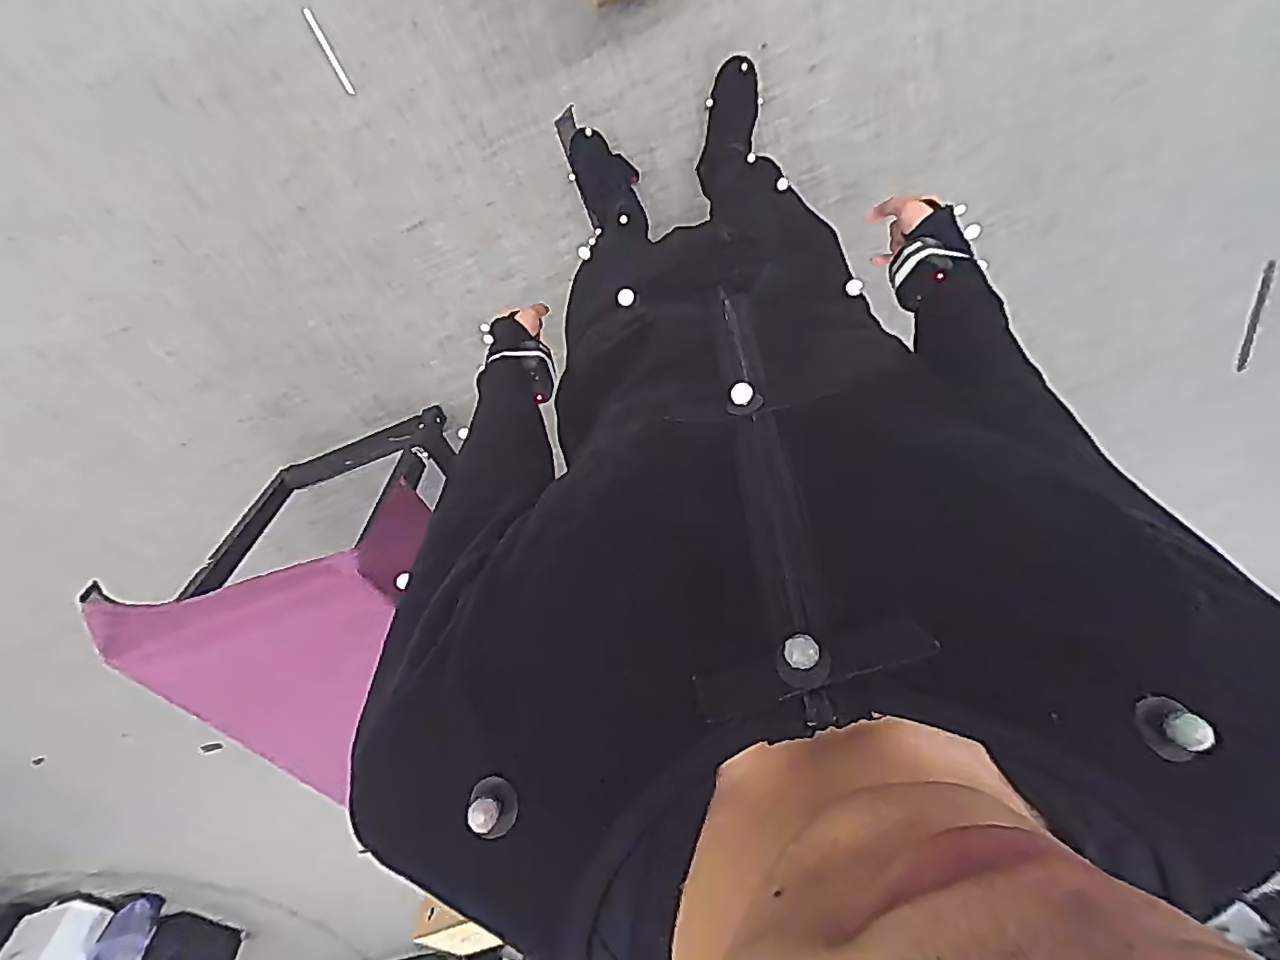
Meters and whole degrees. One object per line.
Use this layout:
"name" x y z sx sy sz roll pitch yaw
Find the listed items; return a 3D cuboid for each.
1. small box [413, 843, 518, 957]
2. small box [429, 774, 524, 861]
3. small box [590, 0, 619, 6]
"small box" -0.420 1.036 1.338 0.179 0.176 0.168 -30 123 14
"small box" -0.434 0.934 1.467 0.168 0.176 0.179 -29 122 13
"small box" -0.041 -1.039 1.027 0.168 0.176 0.179 -17 125 5
